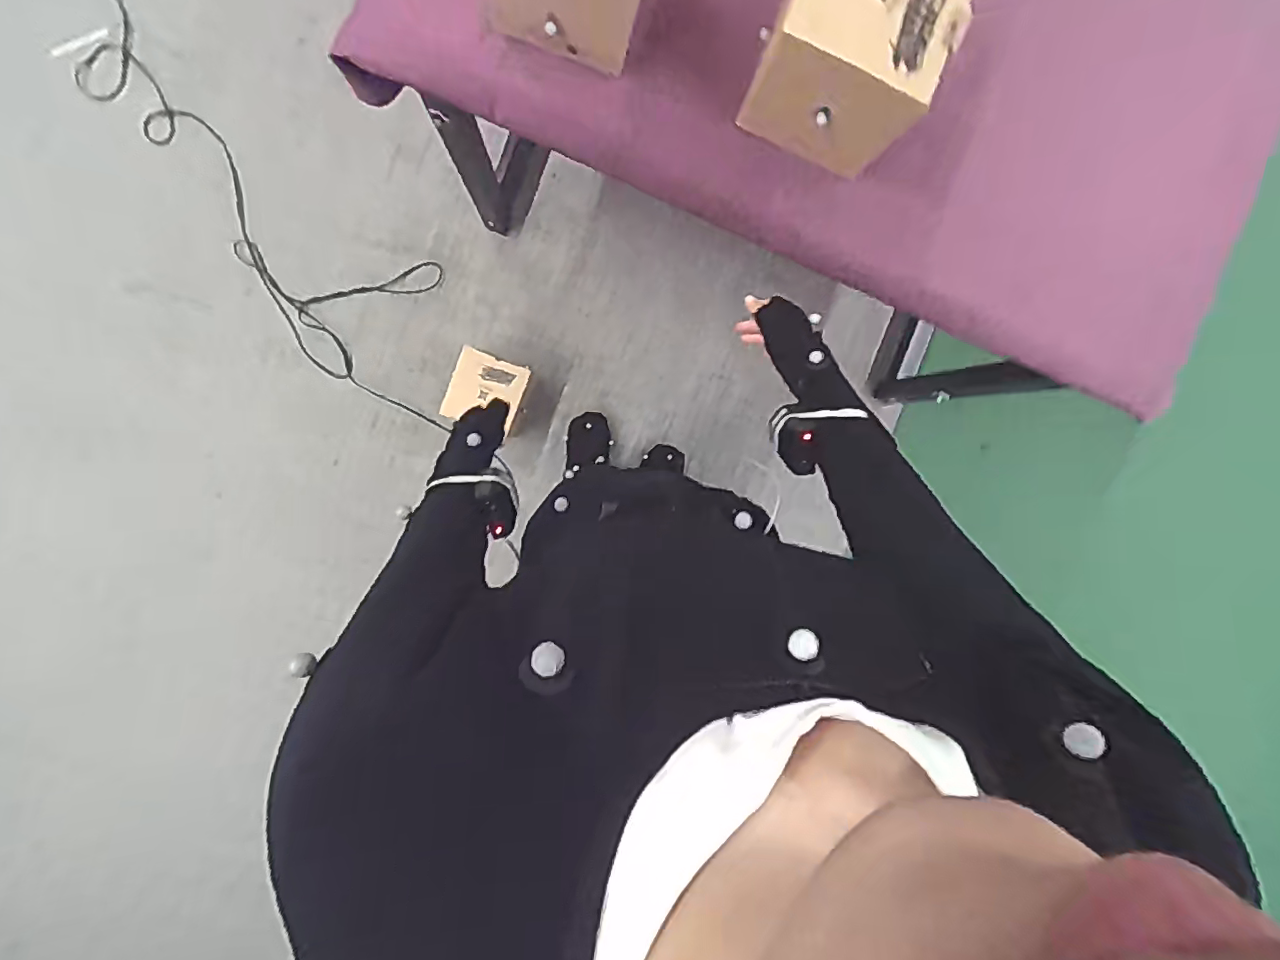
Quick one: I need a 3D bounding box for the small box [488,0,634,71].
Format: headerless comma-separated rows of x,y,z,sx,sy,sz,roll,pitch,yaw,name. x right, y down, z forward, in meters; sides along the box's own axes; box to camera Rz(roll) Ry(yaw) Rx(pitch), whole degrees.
-0.079,-0.613,0.593,0.168,0.176,0.179,16,93,-8,small box
